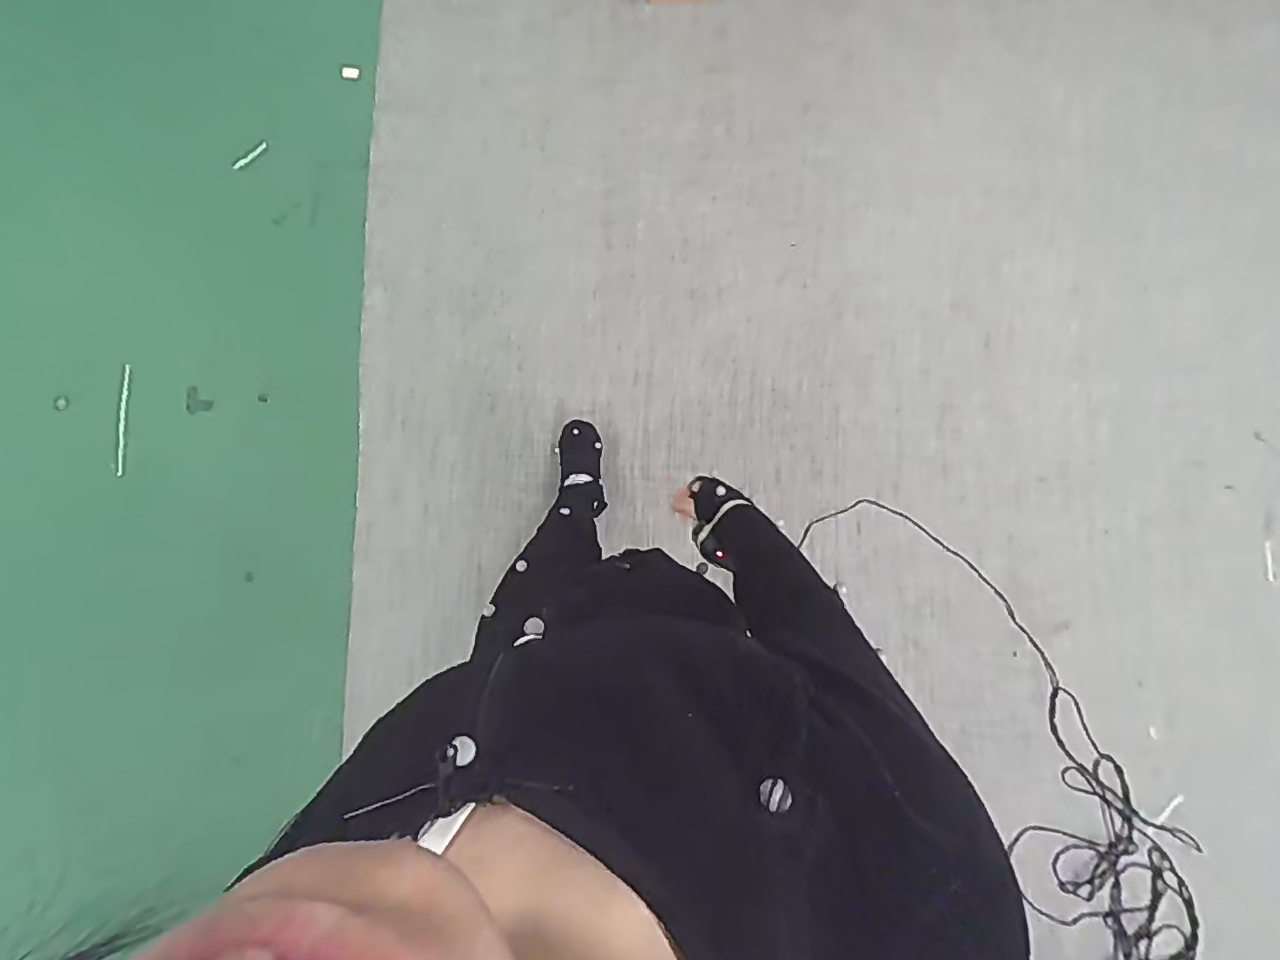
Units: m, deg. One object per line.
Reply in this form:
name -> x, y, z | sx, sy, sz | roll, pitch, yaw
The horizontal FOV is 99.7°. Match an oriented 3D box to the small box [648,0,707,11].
small box -> 0.111, -1.456, 1.503 | 0.179, 0.176, 0.168 | -3, 87, 0
